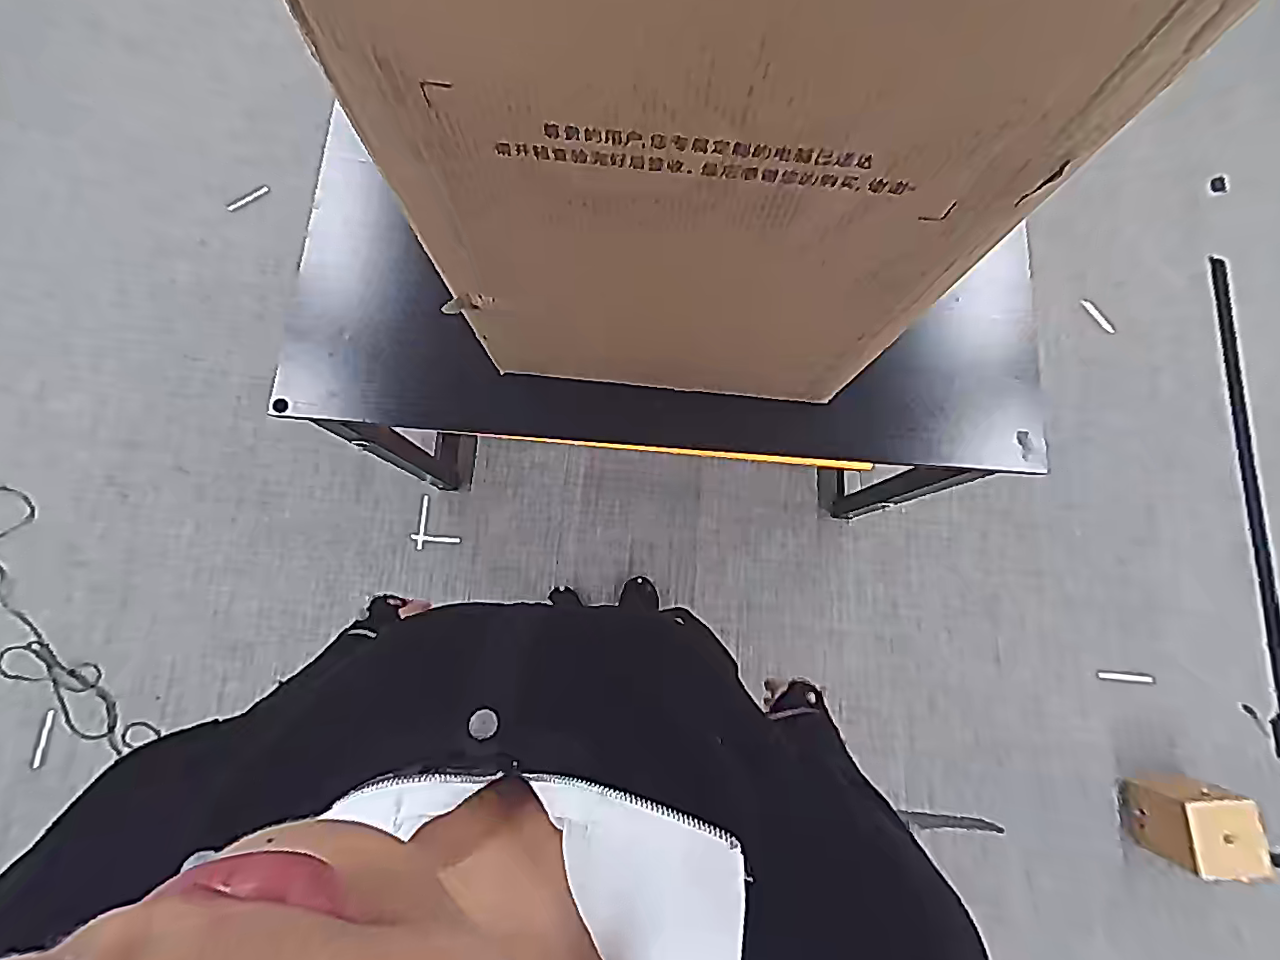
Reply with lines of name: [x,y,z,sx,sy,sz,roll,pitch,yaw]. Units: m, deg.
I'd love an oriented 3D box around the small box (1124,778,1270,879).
small box: [1.377,0.860,1.350,0.179,0.176,0.168,-2,78,-1]
